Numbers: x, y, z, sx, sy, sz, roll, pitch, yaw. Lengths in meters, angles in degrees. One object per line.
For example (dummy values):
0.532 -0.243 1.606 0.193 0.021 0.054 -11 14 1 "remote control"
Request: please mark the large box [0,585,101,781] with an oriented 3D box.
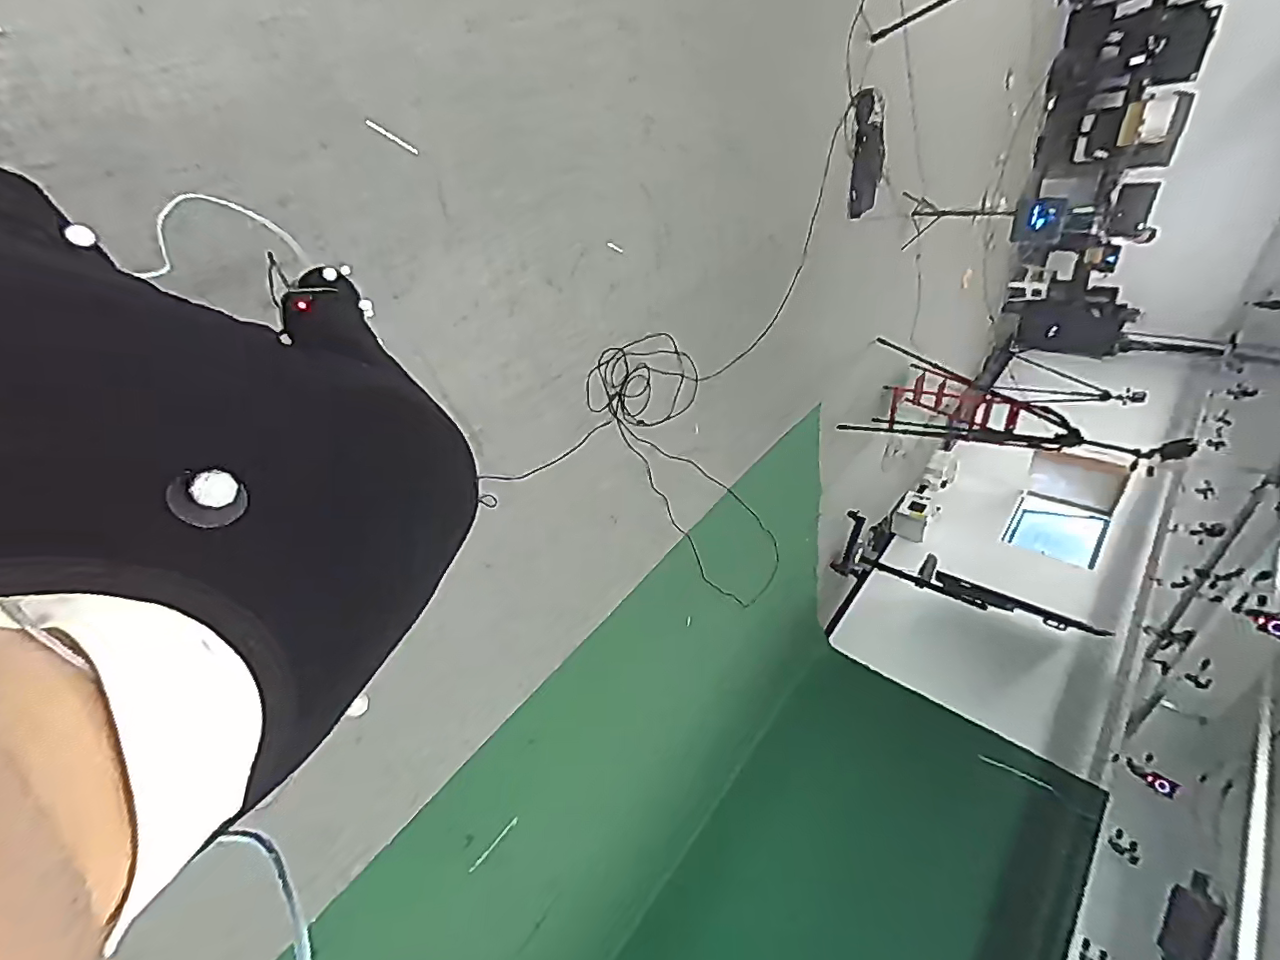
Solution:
-1.225 0.315 0.860 0.320 0.320 0.408 -45 138 -27 "large box"
